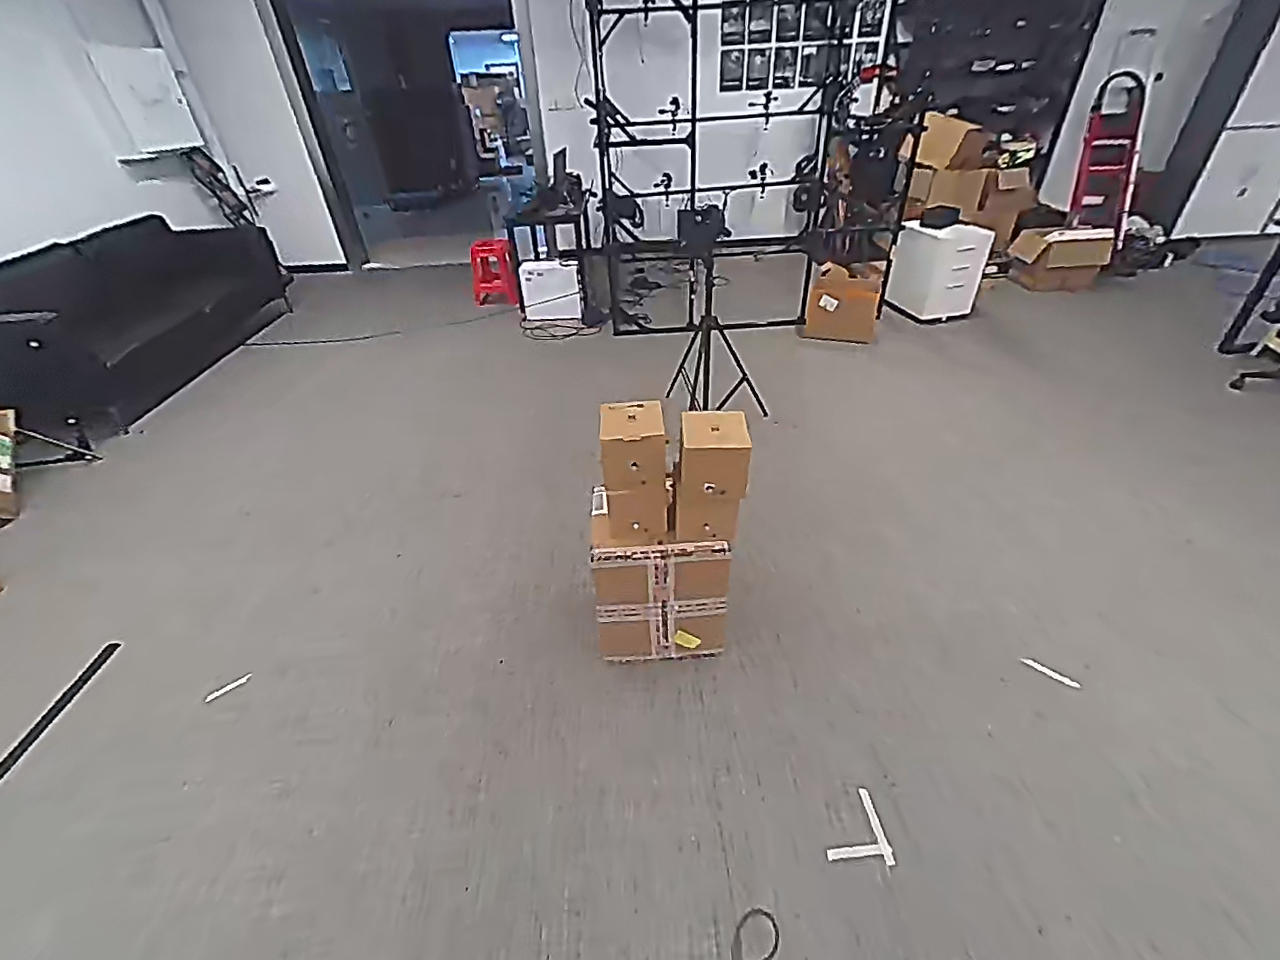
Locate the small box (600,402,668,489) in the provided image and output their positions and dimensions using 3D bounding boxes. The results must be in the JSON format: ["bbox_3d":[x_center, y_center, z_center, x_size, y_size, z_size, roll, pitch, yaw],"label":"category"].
[{"bbox_3d":[-0.014,-0.088,1.462,0.168,0.176,0.179,-4,39,1],"label":"small box"}]

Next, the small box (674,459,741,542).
[{"bbox_3d":[0.185,0.056,1.531,0.168,0.176,0.179,-2,38,-1],"label":"small box"}]

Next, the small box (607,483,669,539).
[{"bbox_3d":[-0.008,0.048,1.554,0.168,0.176,0.179,-6,39,-1],"label":"small box"}]

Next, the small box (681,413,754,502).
[{"bbox_3d":[0.195,-0.060,1.414,0.168,0.176,0.179,-1,39,1],"label":"small box"}]
